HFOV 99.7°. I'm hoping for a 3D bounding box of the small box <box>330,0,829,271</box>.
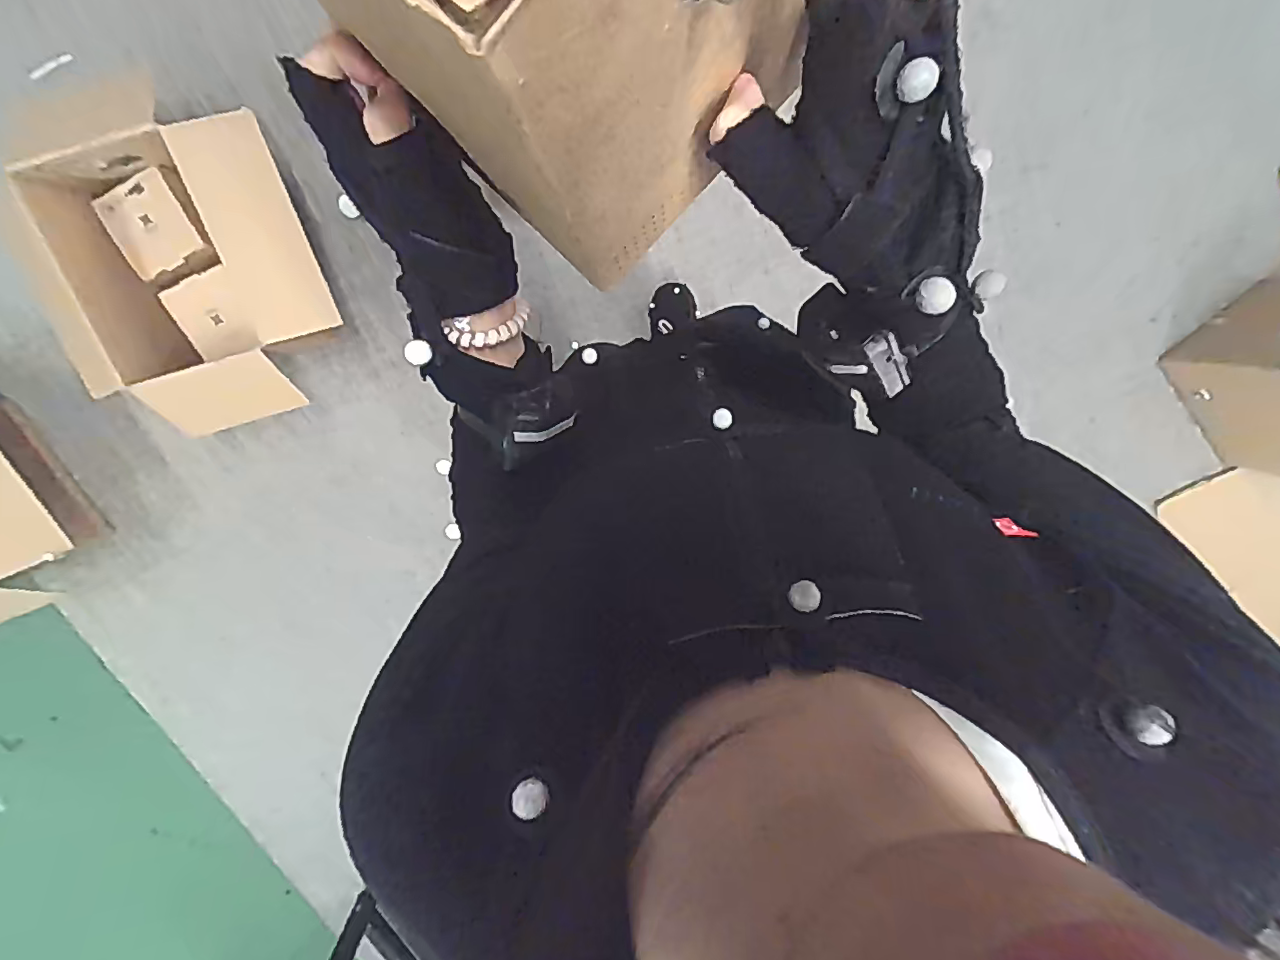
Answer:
[{"bbox_3d":[-0.026,-0.218,0.208,0.168,0.176,0.179,44,95,5],"label":"small box"}]
